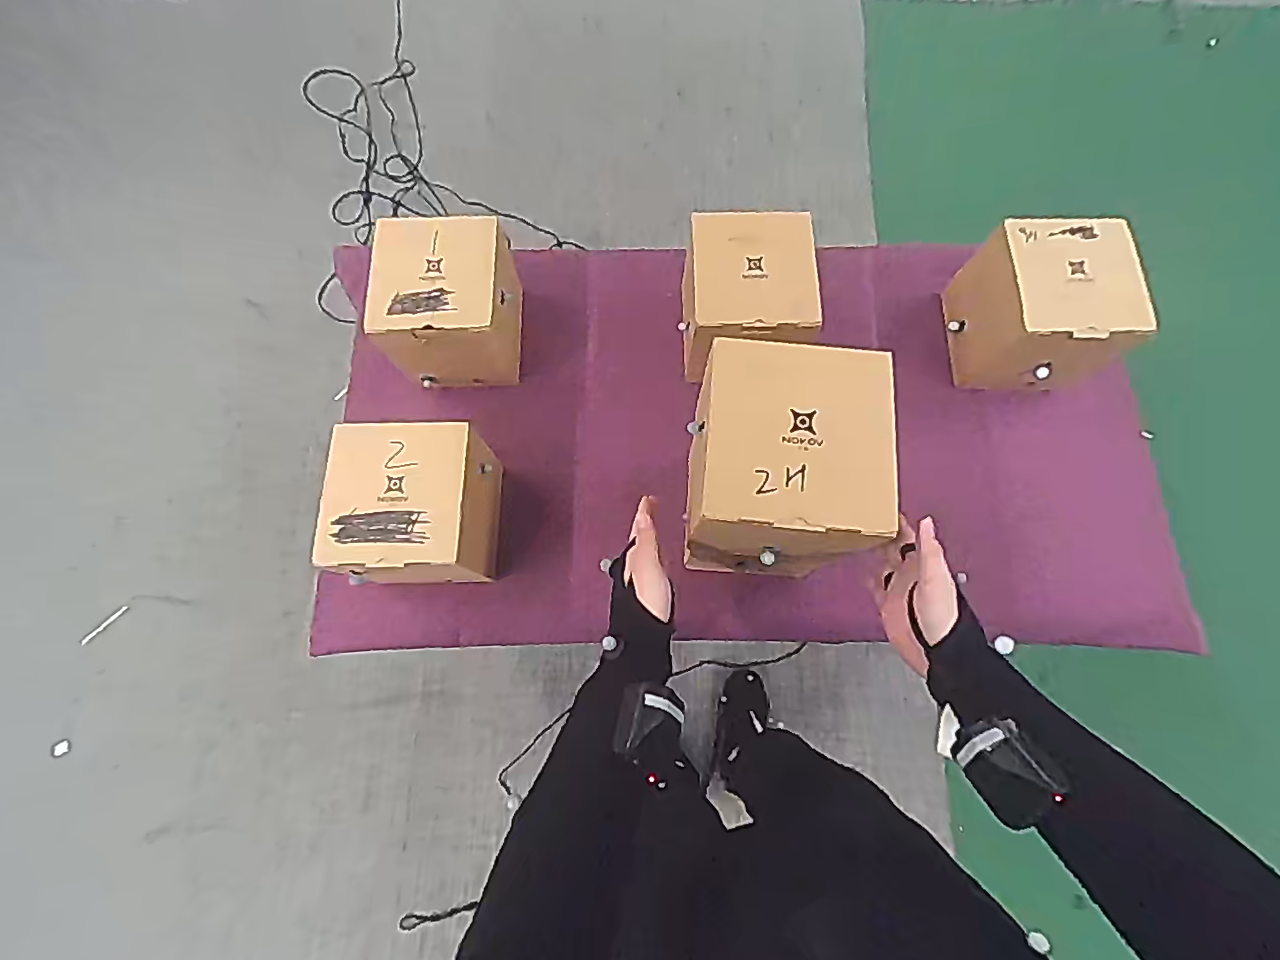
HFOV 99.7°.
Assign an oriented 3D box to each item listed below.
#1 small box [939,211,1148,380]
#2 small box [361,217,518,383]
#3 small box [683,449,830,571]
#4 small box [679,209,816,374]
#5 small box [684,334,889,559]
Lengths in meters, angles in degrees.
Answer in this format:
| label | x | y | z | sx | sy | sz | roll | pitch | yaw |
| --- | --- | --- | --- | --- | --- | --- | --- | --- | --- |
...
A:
| label | x | y | z | sx | sy | sz | roll | pitch | yaw |
| --- | --- | --- | --- | --- | --- | --- | --- | --- | --- |
| small box | 0.561 | -0.254 | 0.779 | 0.168 | 0.176 | 0.179 | 0 | 75 | 1 |
| small box | -0.278 | -0.250 | 0.790 | 0.168 | 0.176 | 0.179 | -2 | 74 | 0 |
| small box | 0.146 | 0.017 | 0.711 | 0.168 | 0.176 | 0.179 | 3 | 74 | 1 |
| small box | 0.145 | -0.262 | 0.789 | 0.168 | 0.176 | 0.179 | -1 | 75 | 0 |
| small box | 0.135 | -0.024 | 0.552 | 0.168 | 0.176 | 0.179 | 5 | 75 | 3 |
